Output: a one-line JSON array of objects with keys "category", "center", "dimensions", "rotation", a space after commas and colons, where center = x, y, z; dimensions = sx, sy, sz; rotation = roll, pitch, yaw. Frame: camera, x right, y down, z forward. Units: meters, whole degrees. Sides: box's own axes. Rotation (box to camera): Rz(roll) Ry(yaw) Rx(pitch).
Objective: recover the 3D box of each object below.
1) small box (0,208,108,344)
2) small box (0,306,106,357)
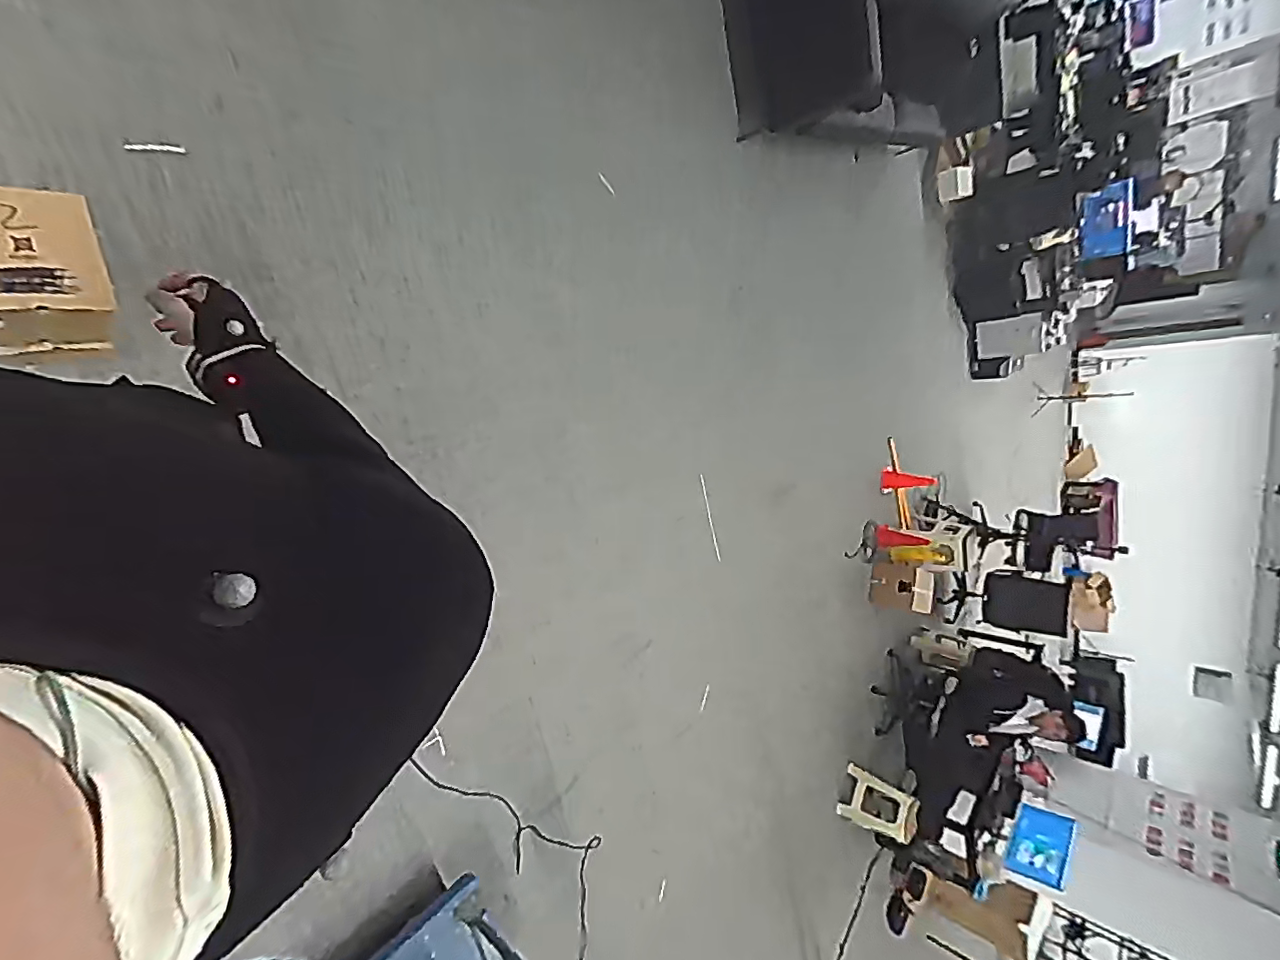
[{"category": "small box", "center": [-1.079, -0.352, 0.945], "dimensions": [0.179, 0.176, 0.168], "rotation": [24, 77, -42]}, {"category": "small box", "center": [-1.183, -0.341, 1.060], "dimensions": [0.168, 0.176, 0.179], "rotation": [-20, 106, -43]}]
